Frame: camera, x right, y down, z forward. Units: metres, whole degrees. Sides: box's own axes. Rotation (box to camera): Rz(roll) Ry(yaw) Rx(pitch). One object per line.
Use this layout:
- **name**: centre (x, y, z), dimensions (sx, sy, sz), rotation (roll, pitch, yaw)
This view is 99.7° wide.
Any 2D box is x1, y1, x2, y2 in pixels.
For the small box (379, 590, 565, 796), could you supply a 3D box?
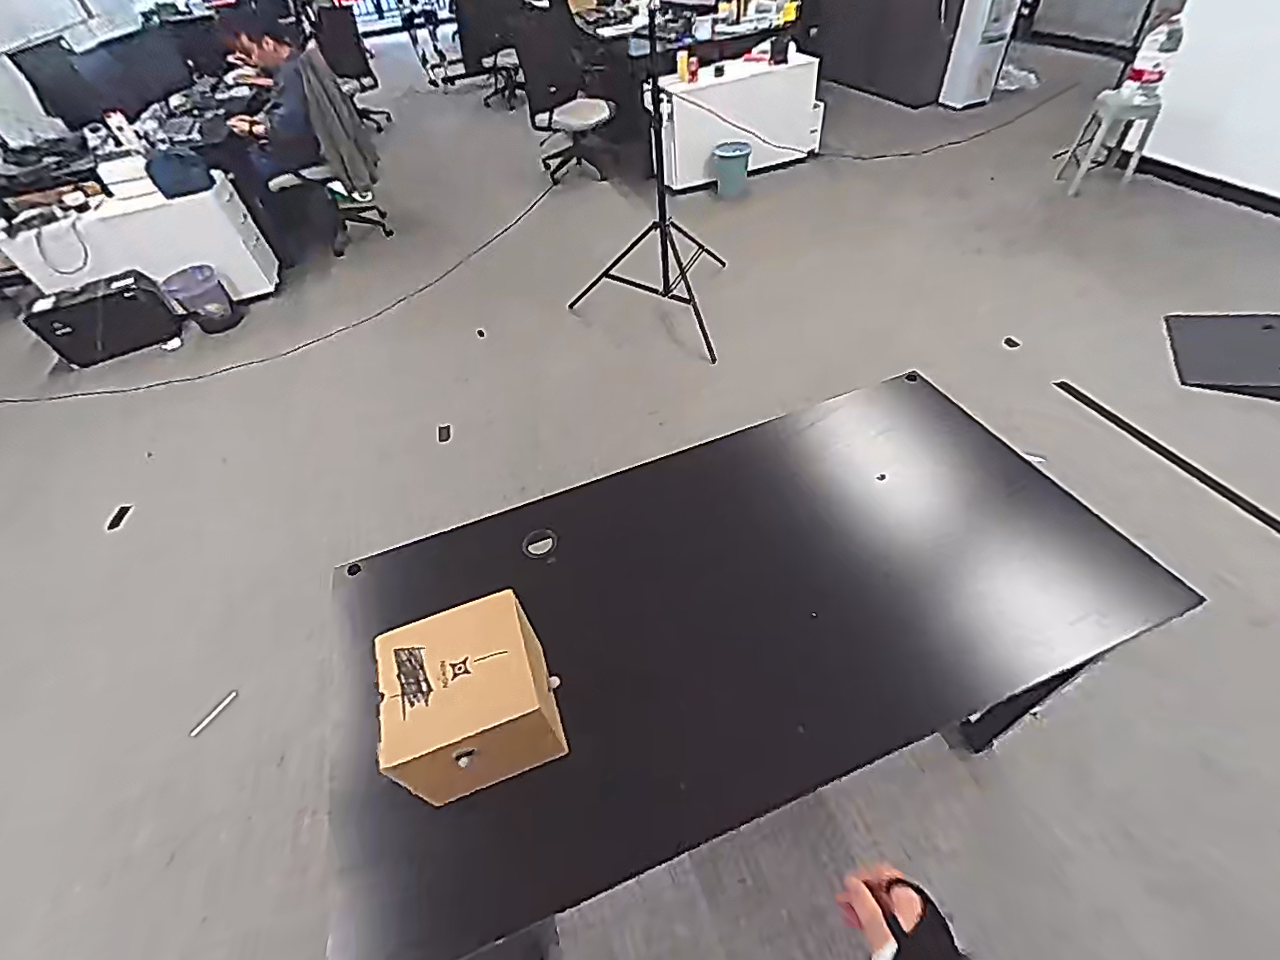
- **small box**: centre (-0.211, 0.277, 0.697), dimensions (0.179, 0.176, 0.168), rotation (-18, 49, -10)
